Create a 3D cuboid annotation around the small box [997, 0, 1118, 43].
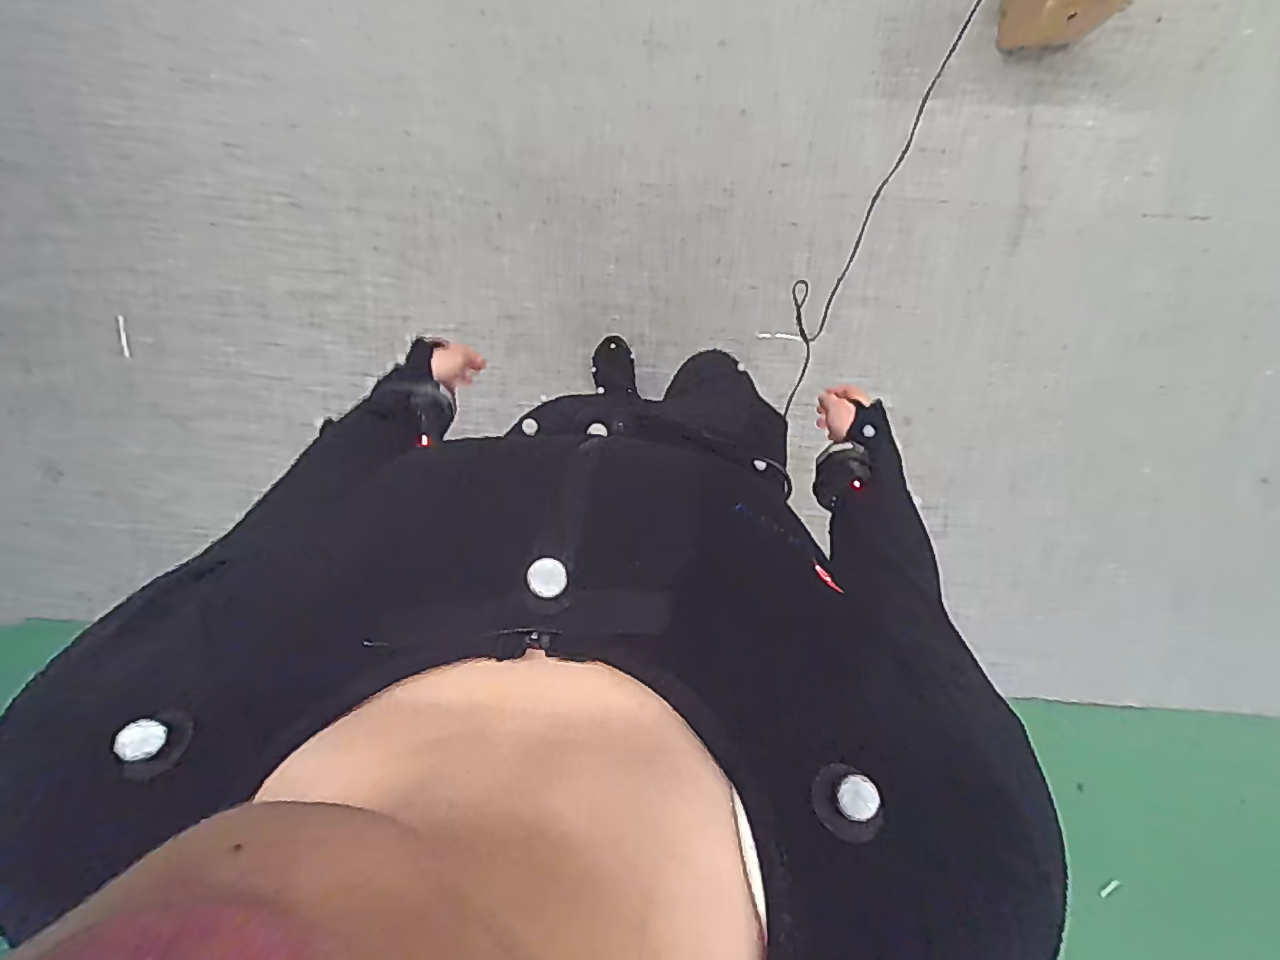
[{"bbox_3d":[0.871,-1.035,1.108,0.179,0.176,0.168,-4,104,3],"label":"small box"}]
